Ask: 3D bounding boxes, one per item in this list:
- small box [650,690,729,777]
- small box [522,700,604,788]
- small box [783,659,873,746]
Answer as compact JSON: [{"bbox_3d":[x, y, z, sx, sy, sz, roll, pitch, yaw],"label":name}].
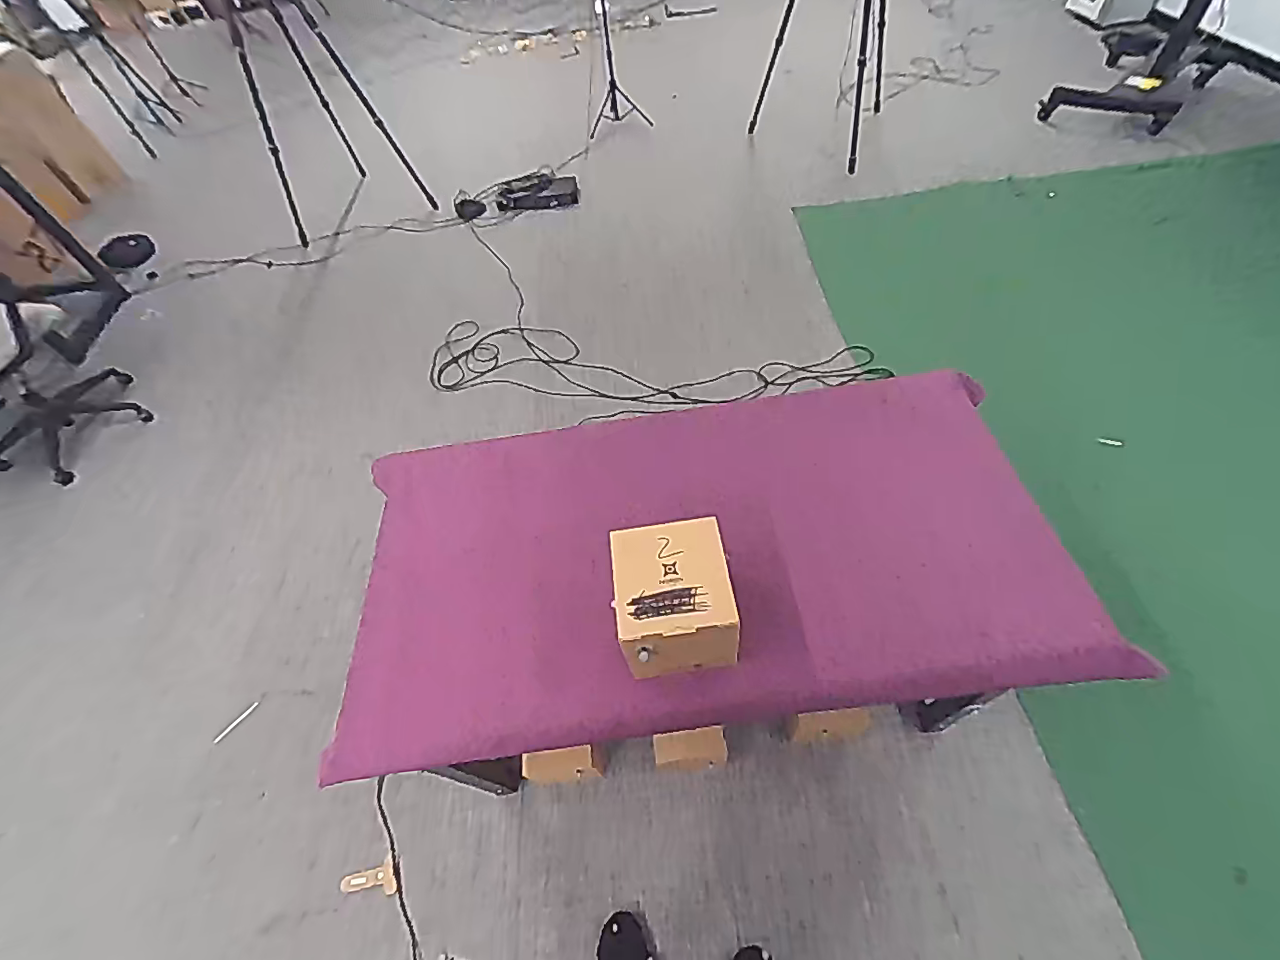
[{"bbox_3d":[0.126,0.651,1.384,0.179,0.176,0.168,-8,53,3],"label":"small box"},{"bbox_3d":[-0.196,0.689,1.403,0.179,0.176,0.168,-9,53,1],"label":"small box"},{"bbox_3d":[0.471,0.575,1.389,0.179,0.176,0.168,-6,53,4],"label":"small box"}]
